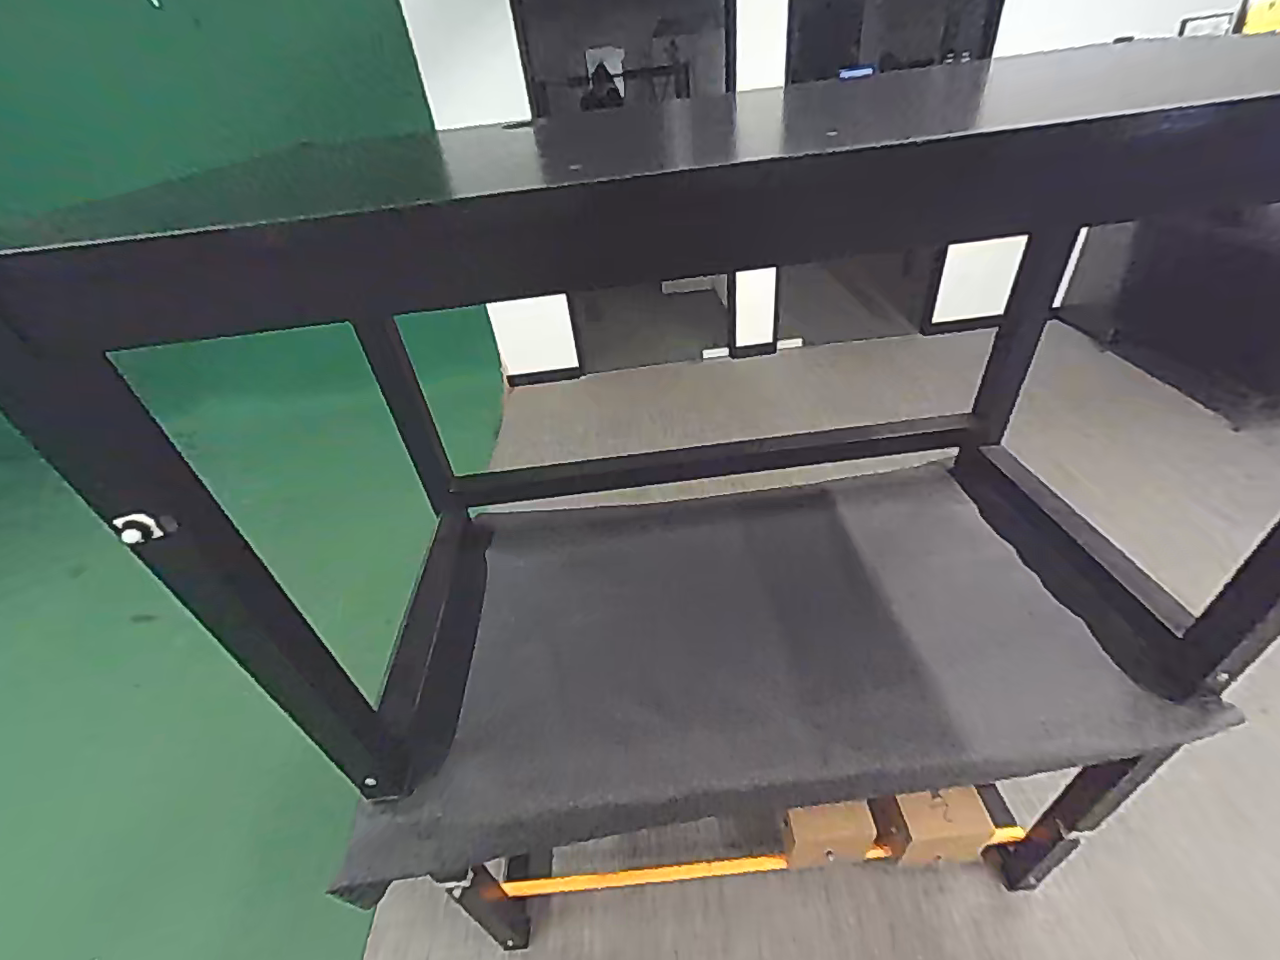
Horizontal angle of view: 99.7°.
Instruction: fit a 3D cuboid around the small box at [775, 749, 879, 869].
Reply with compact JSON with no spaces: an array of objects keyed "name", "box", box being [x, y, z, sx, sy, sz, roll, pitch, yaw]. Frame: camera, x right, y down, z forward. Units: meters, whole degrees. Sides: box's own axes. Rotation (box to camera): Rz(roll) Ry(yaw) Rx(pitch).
[{"name":"small box","box":[0.396,0.719,1.174,0.168,0.176,0.179,-8,38,1]}]
